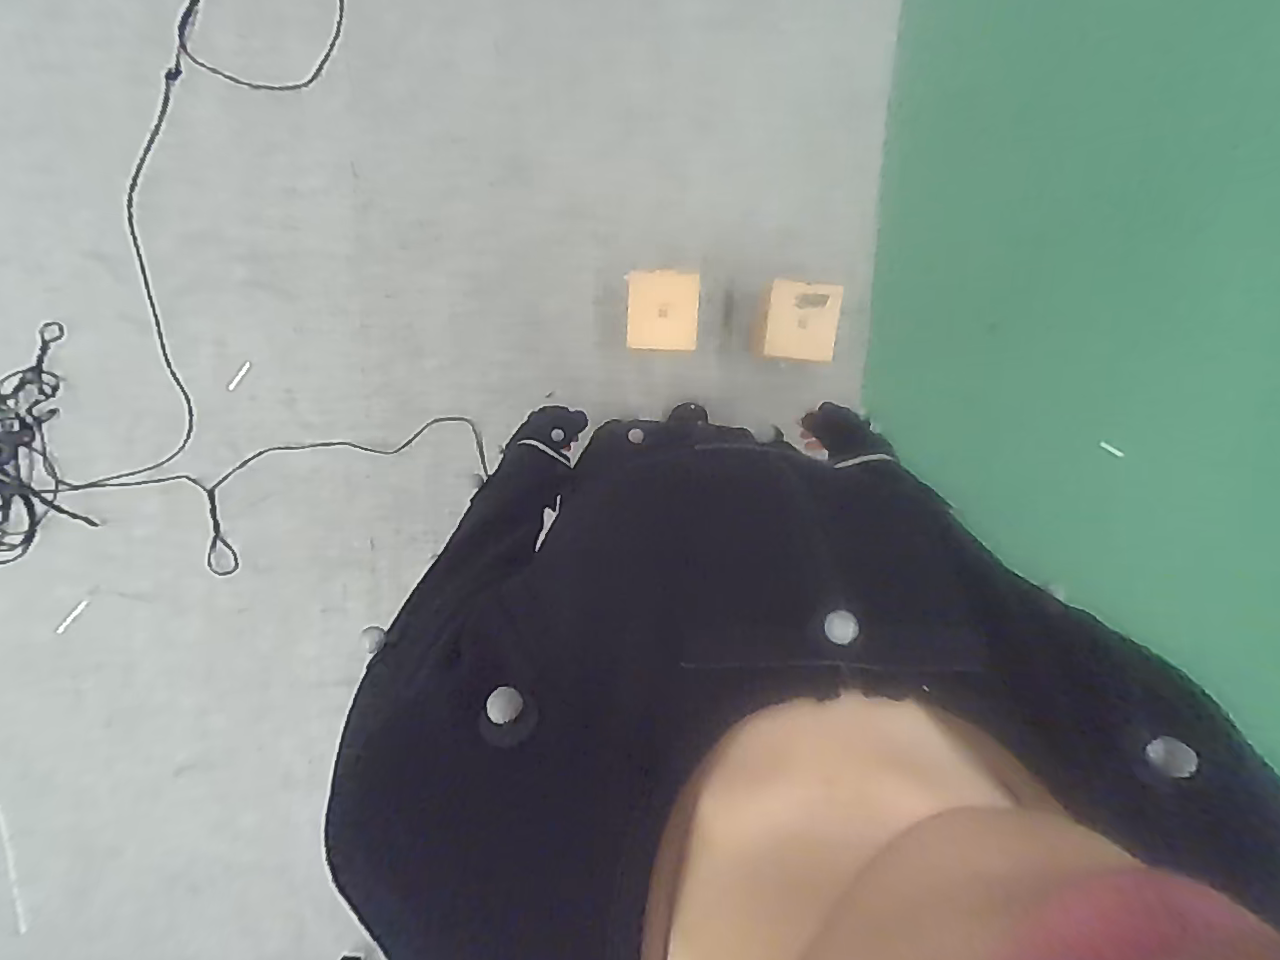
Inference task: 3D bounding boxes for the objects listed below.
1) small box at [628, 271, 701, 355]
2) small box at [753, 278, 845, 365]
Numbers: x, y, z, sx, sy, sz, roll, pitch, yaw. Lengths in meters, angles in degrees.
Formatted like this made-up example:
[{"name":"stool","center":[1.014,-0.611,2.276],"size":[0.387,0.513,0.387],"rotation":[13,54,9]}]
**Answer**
[{"name":"small box","center":[0.057,-0.404,1.331],"size":[0.168,0.176,0.179],"rotation":[2,98,0]},{"name":"small box","center":[0.383,-0.384,1.331],"size":[0.168,0.176,0.179],"rotation":[6,100,0]}]
